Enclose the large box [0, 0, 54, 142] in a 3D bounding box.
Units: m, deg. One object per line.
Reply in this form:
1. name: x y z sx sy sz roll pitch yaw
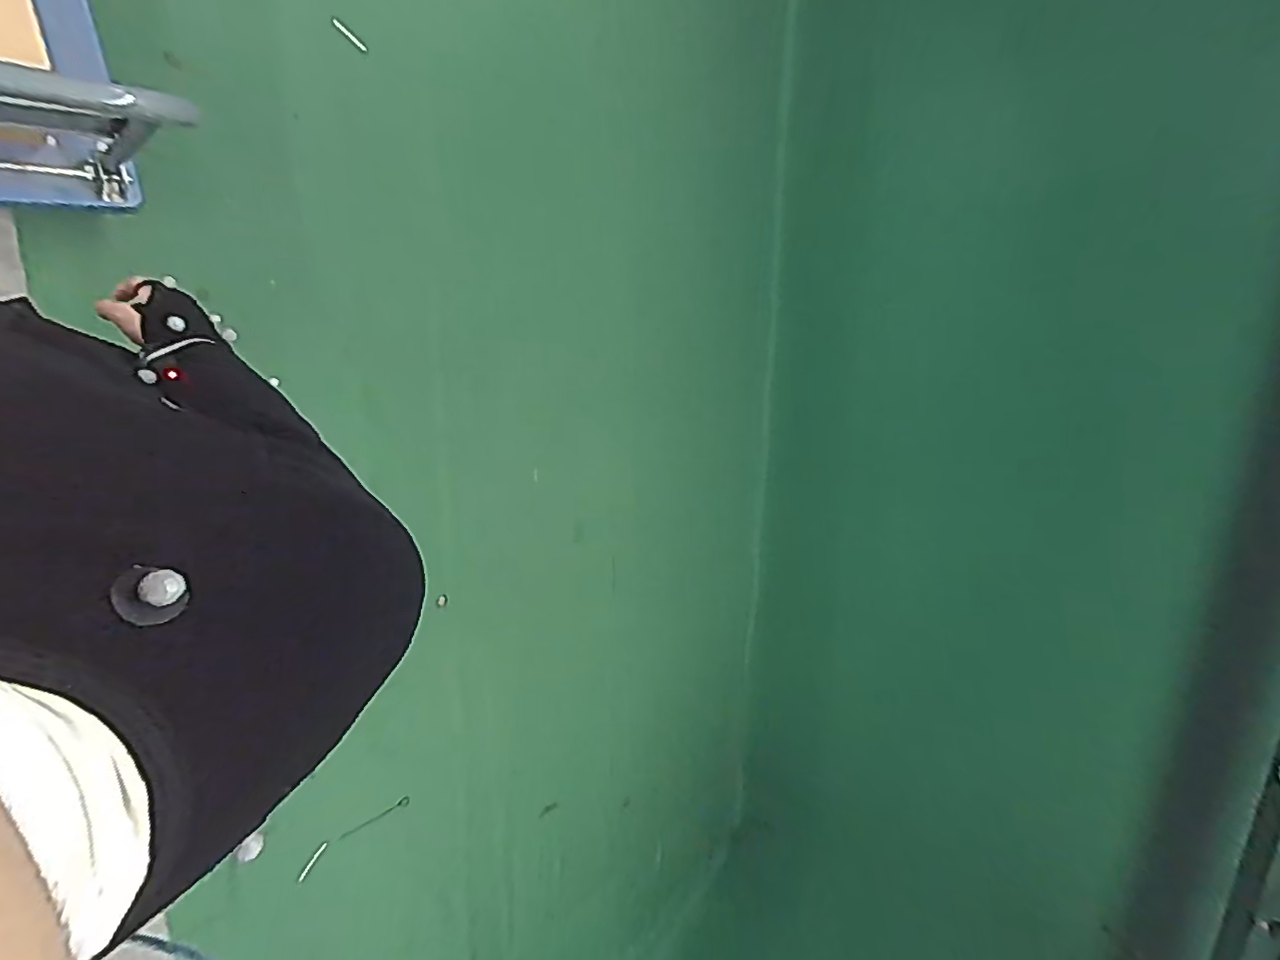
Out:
1. large box: -1.053 -0.719 0.696 0.320 0.320 0.408 -22 114 -46
